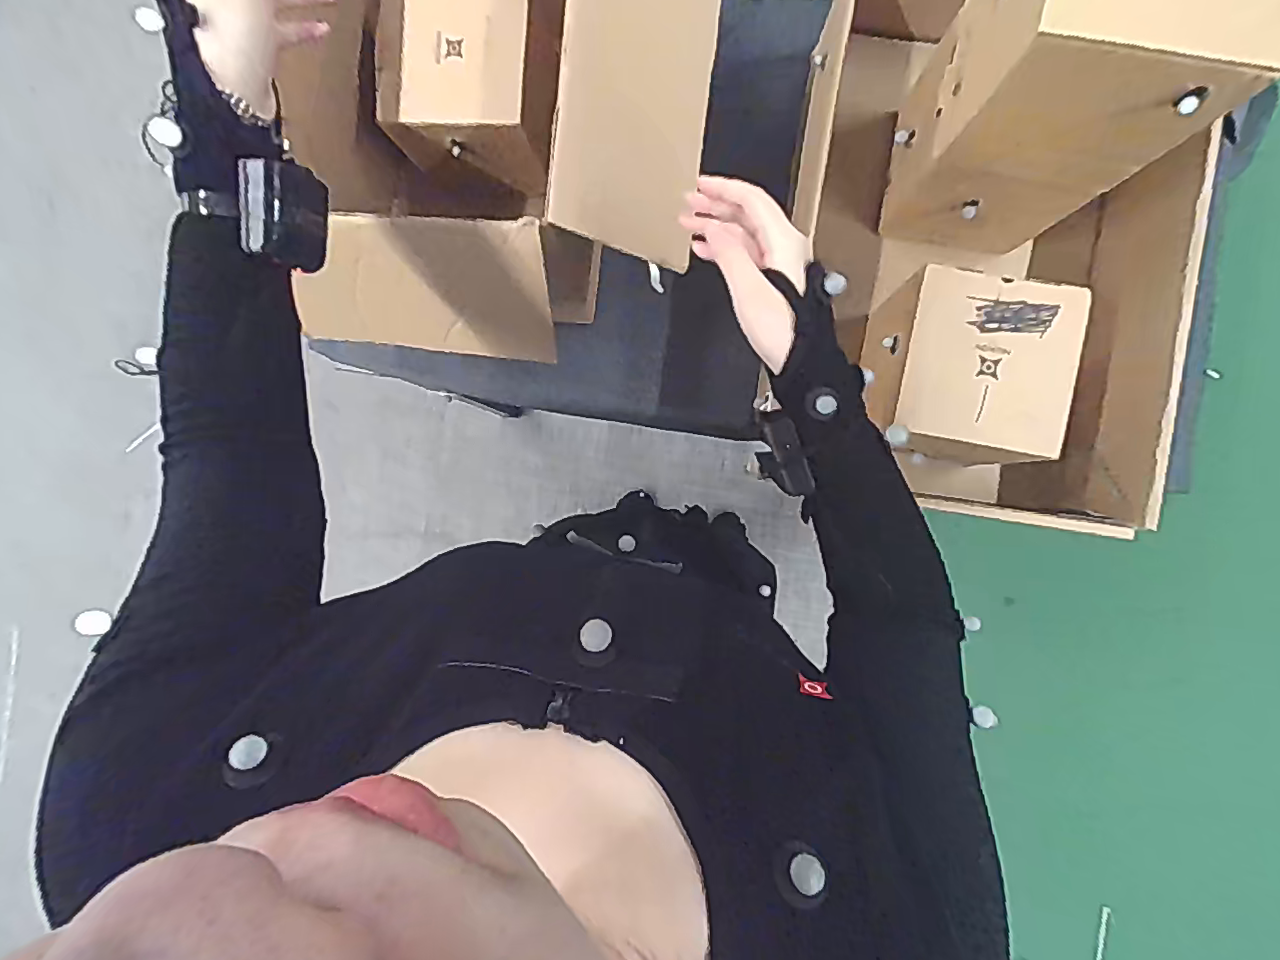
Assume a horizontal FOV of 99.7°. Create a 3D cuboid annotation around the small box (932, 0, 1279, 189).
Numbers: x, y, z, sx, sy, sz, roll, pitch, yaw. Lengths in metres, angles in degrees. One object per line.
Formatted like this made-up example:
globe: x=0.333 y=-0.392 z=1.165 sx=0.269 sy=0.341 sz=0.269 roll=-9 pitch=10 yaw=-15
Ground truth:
small box: x=0.386 y=-0.381 z=0.466 sx=0.179 sy=0.176 sz=0.168 roll=12 pitch=92 yaw=3
